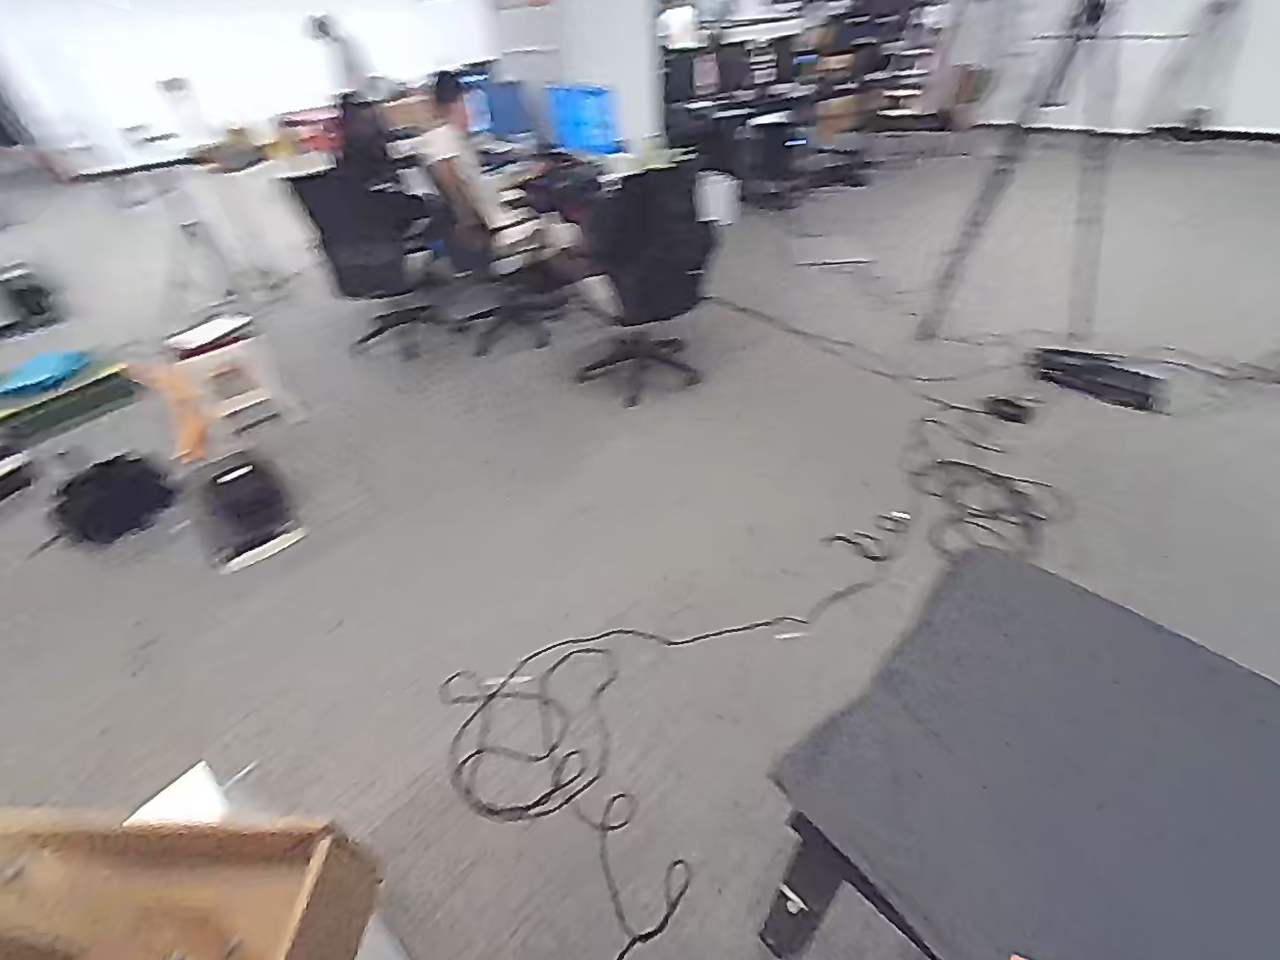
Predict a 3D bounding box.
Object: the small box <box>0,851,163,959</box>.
[{"bbox_3d":[-0.554,0.471,0.460,0.168,0.176,0.179,22,51,28],"label":"small box"}]
